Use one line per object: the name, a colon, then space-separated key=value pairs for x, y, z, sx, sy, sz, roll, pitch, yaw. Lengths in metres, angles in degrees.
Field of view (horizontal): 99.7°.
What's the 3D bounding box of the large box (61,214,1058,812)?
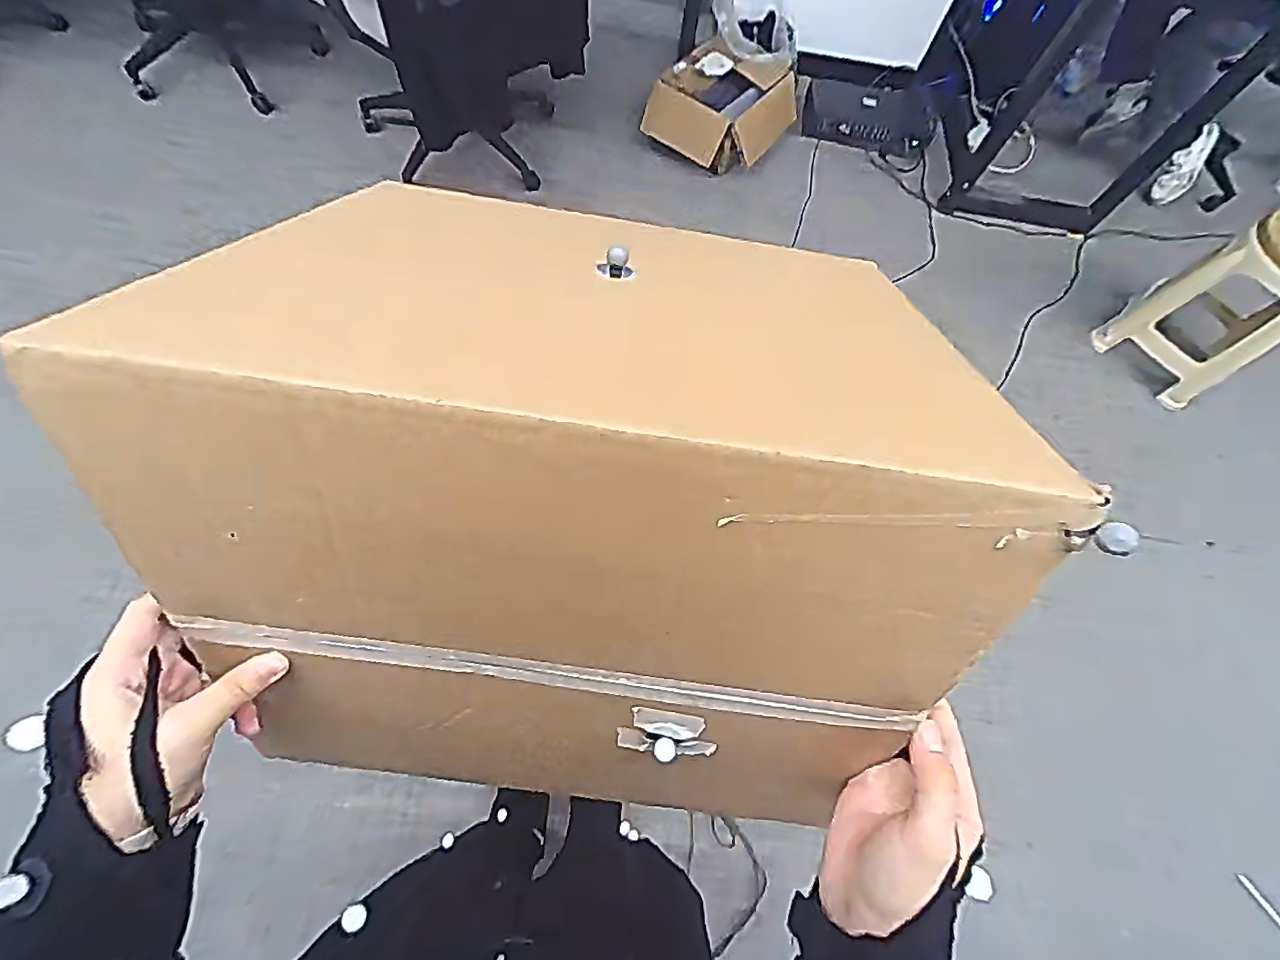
large box: x=-0.038 y=0.011 z=0.418 sx=0.408 sy=0.320 sz=0.320 roll=8 pitch=39 yaw=-2
